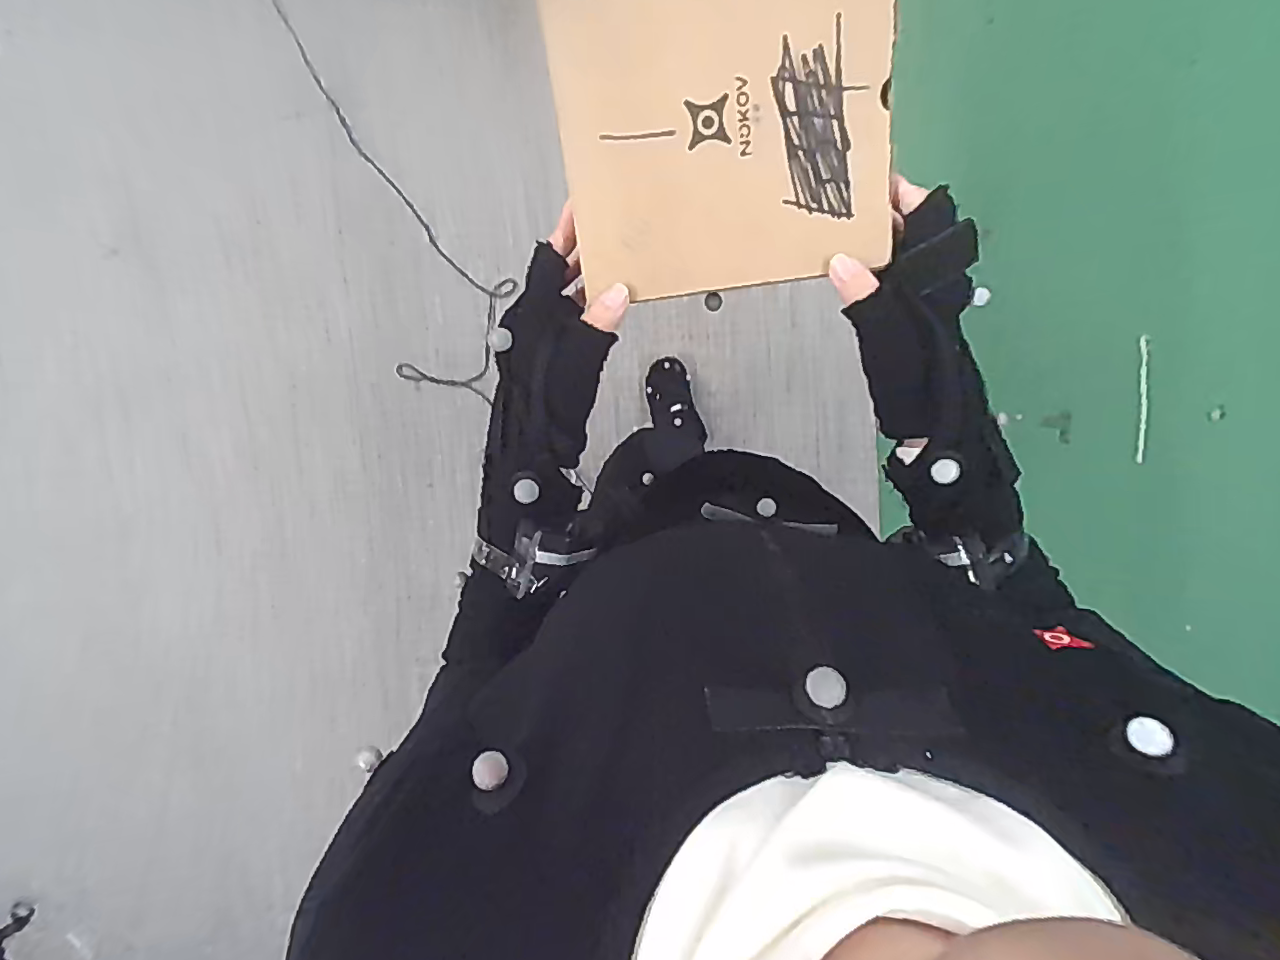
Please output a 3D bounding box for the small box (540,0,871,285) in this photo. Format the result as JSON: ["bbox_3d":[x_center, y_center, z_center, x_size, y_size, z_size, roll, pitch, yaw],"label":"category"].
[{"bbox_3d":[0.043,-0.233,0.376,0.179,0.176,0.168,-5,110,6],"label":"small box"}]
